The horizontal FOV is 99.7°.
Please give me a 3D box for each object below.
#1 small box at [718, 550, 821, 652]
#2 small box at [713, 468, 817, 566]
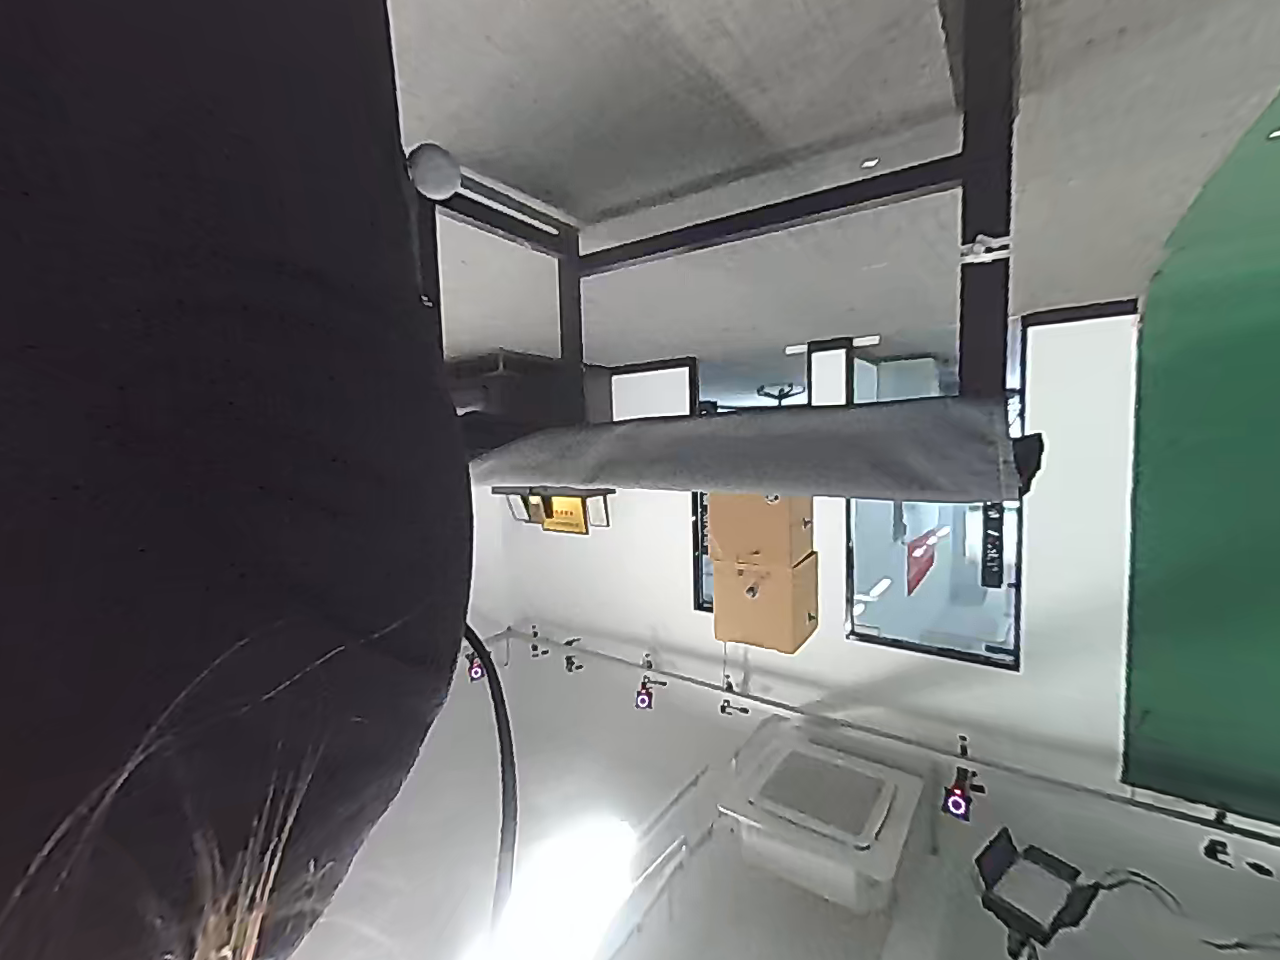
[{"bbox_3d":[0.270,0.231,1.114,0.168,0.176,0.179,0,-175,34],"label":"small box"},{"bbox_3d":[0.253,0.068,1.089,0.168,0.176,0.179,1,-174,31],"label":"small box"}]
